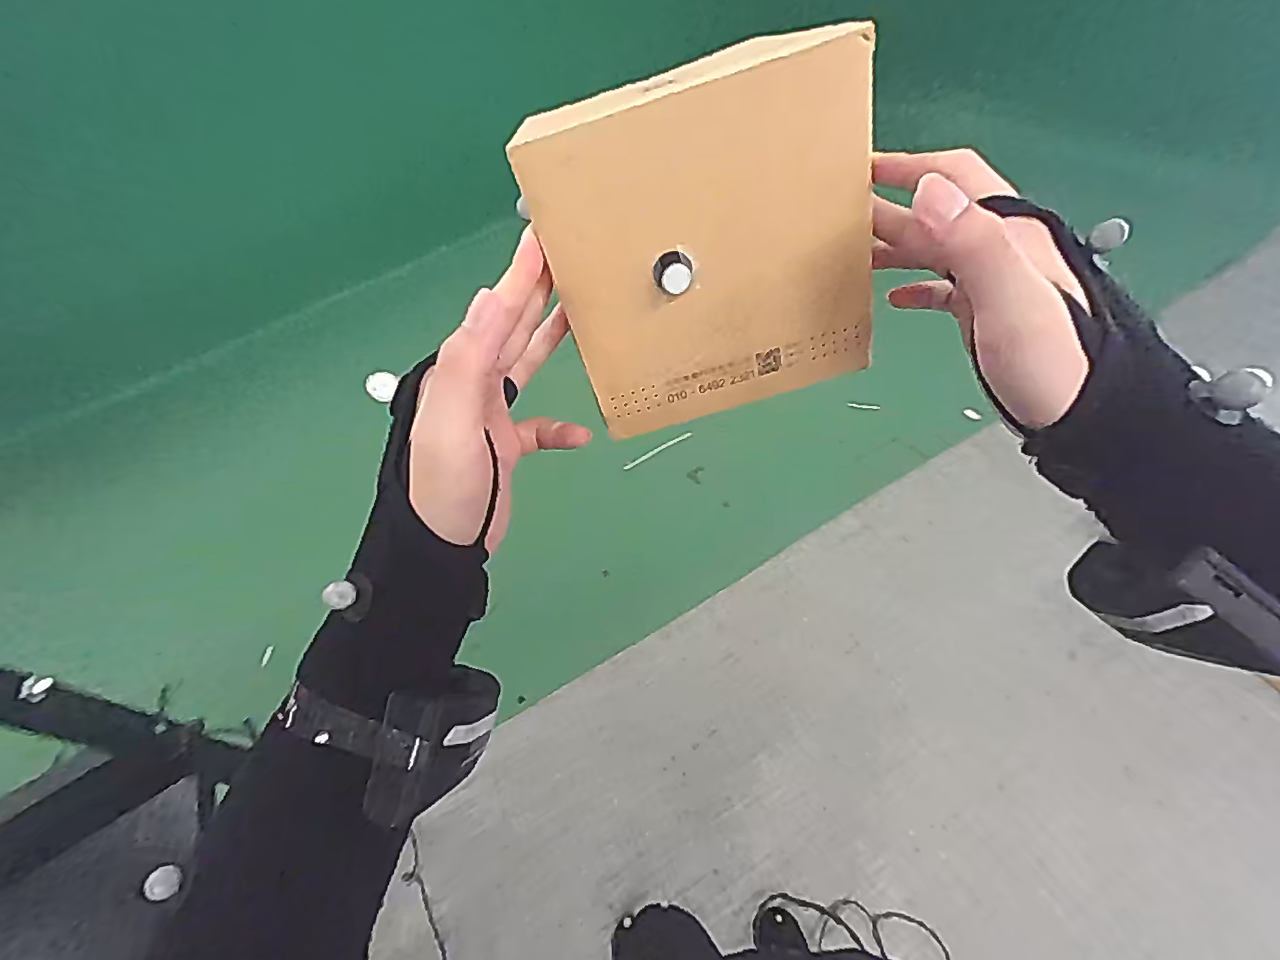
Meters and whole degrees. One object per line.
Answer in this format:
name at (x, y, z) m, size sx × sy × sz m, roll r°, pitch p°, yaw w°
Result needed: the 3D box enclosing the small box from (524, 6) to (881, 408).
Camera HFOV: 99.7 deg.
small box at (0.039, -0.162, 0.347) m, size 0.168 × 0.176 × 0.179 m, roll -15°, pitch 37°, yaw 4°
